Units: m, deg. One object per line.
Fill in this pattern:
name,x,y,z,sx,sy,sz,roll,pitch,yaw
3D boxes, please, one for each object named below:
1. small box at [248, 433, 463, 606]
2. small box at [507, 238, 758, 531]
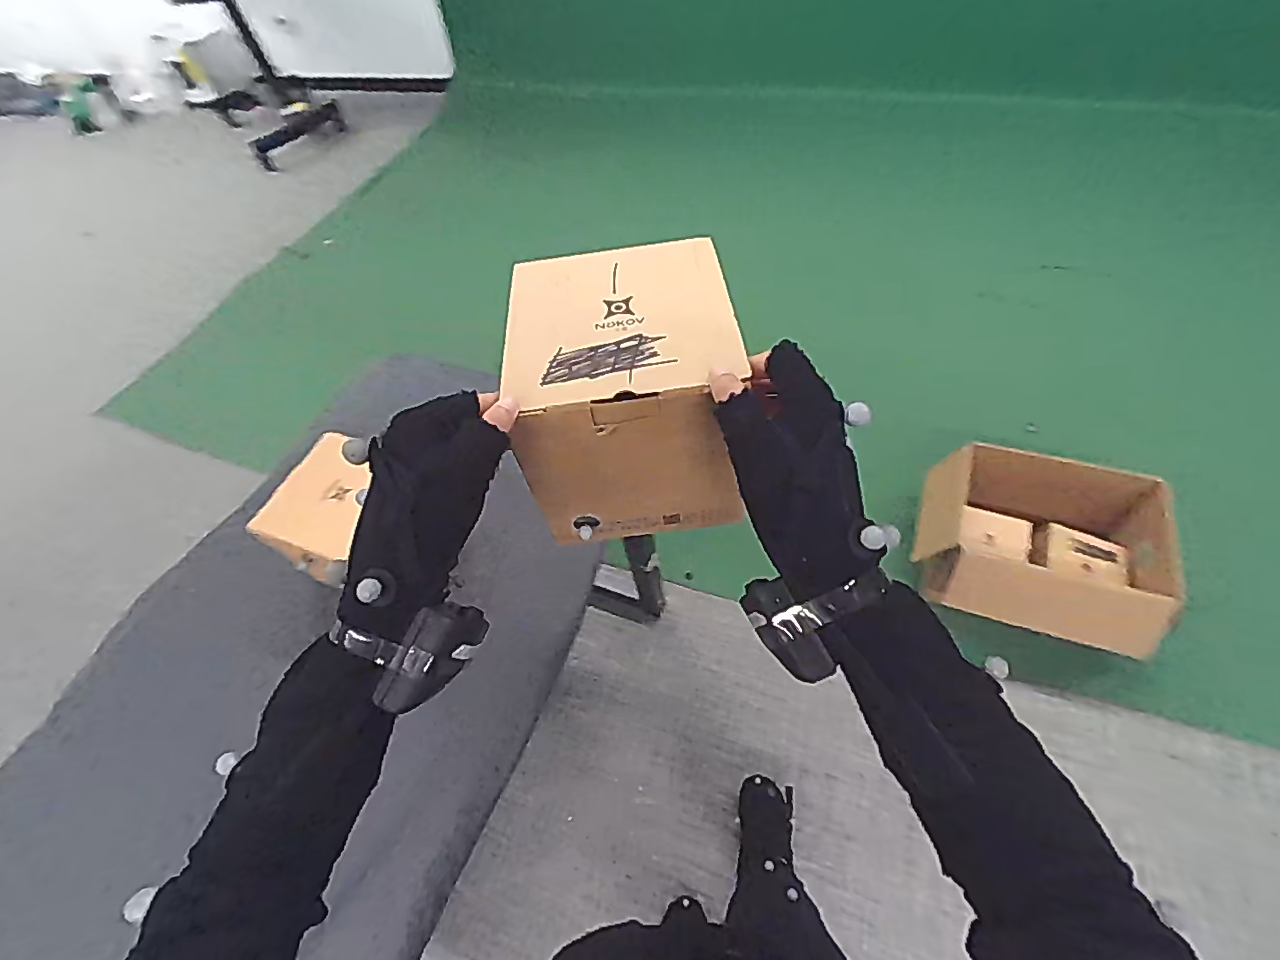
small box,-0.388,0.062,0.774,0.179,0.176,0.168,14,59,17
small box,0.000,-0.069,0.452,0.168,0.176,0.179,-6,53,3
